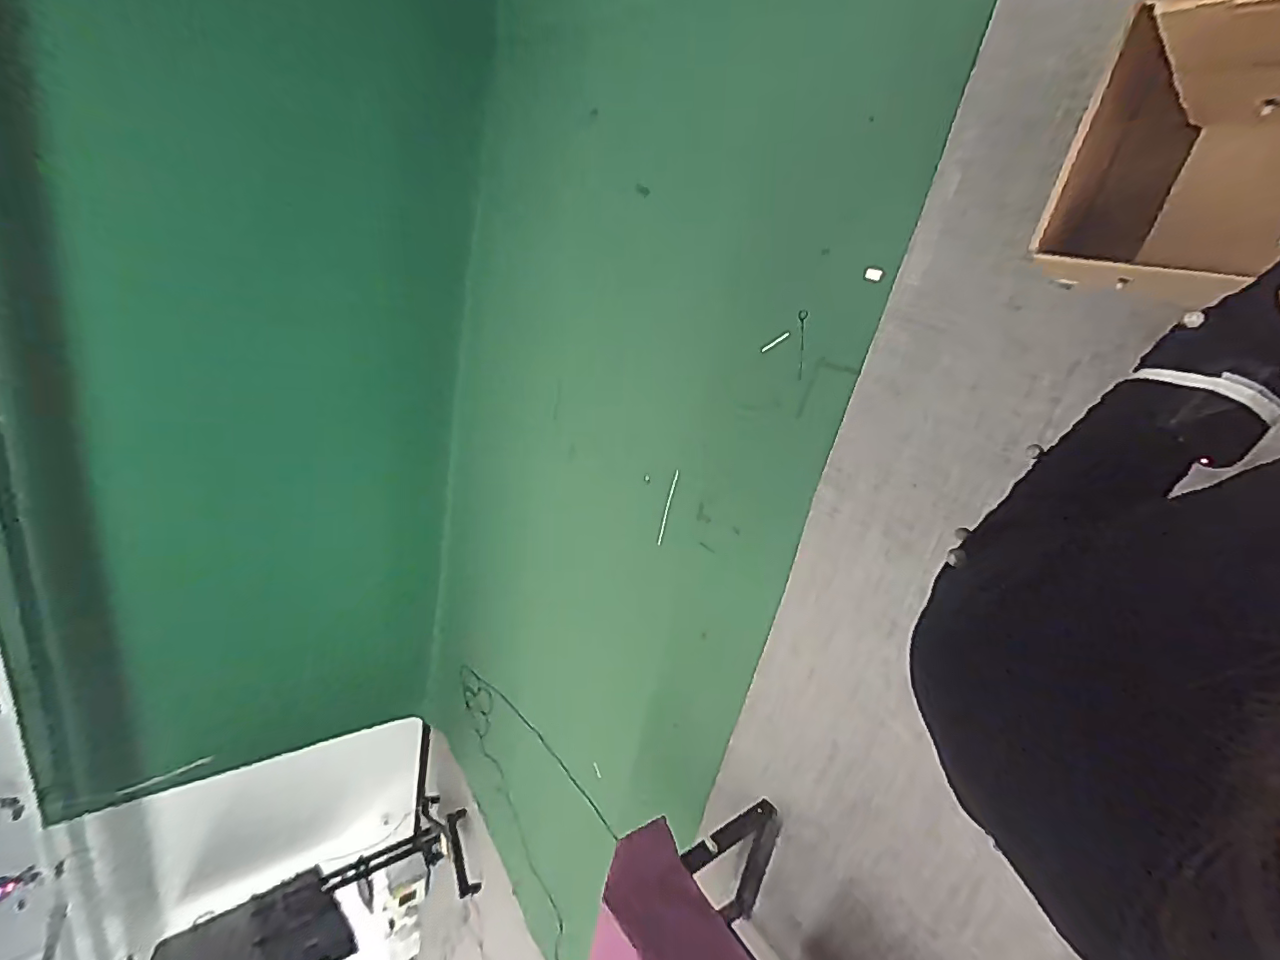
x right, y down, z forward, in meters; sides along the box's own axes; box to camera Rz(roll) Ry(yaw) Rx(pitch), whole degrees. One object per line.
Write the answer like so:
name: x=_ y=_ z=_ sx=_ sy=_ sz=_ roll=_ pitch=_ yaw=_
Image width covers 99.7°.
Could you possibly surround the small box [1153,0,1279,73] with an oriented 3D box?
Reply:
small box: x=0.636 y=-0.506 z=0.499 sx=0.168 sy=0.176 sz=0.179 roll=36 pitch=119 yaw=42
